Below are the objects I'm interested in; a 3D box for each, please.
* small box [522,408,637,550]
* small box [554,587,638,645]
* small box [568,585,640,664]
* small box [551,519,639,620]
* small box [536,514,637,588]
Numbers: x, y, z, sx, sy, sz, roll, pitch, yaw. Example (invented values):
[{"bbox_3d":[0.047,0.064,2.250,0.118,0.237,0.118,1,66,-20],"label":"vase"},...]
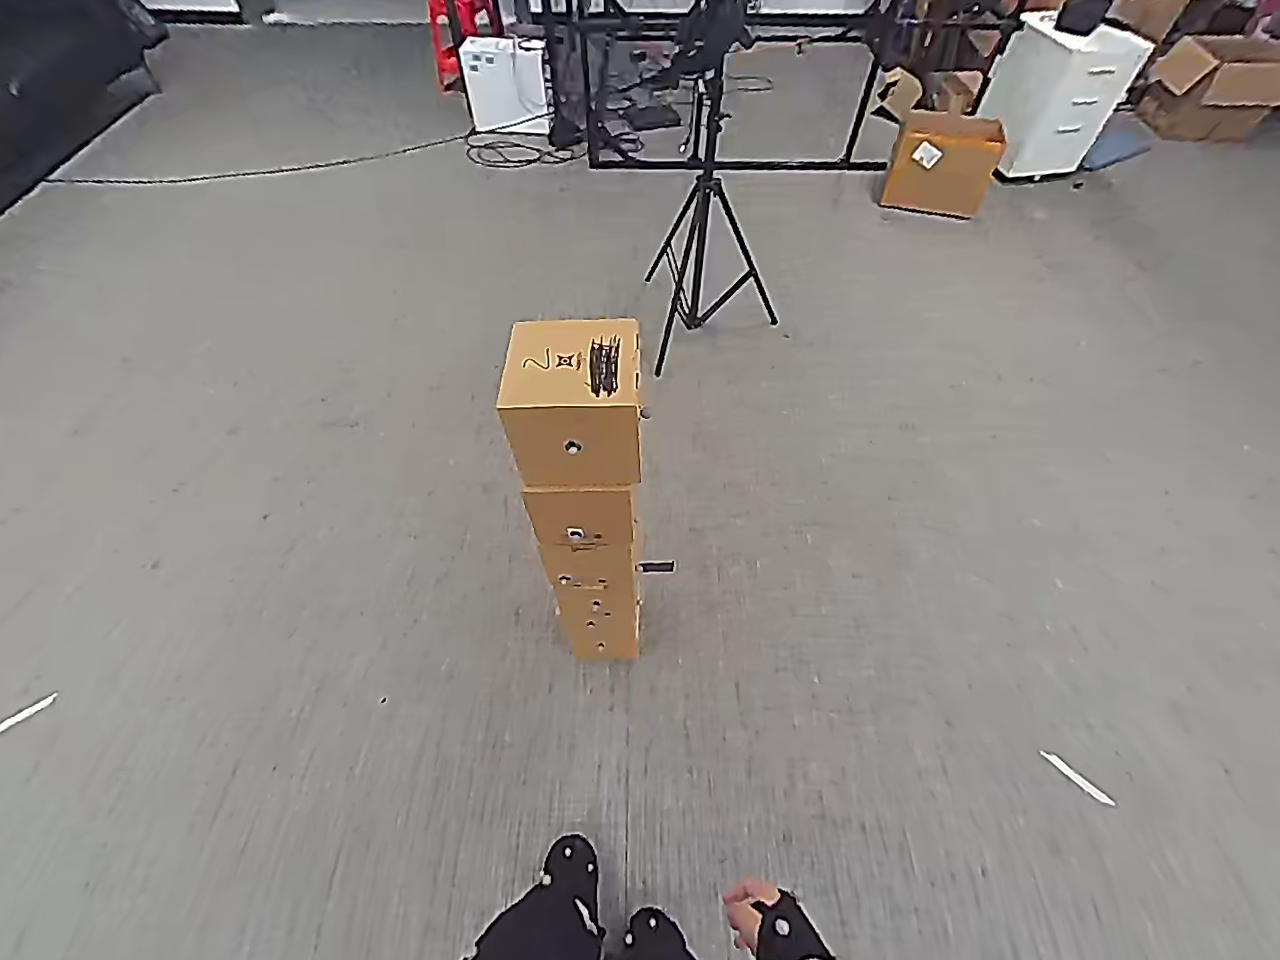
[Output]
[{"bbox_3d":[-0.090,0.001,0.897,0.168,0.176,0.179,-2,56,1],"label":"small box"},{"bbox_3d":[-0.097,0.288,1.293,0.179,0.176,0.168,2,56,2],"label":"small box"},{"bbox_3d":[-0.090,0.381,1.429,0.179,0.176,0.168,0,55,0],"label":"small box"},{"bbox_3d":[-0.089,0.192,1.162,0.168,0.176,0.179,1,56,1],"label":"small box"},{"bbox_3d":[-0.092,0.095,1.029,0.168,0.176,0.179,1,54,1],"label":"small box"}]
